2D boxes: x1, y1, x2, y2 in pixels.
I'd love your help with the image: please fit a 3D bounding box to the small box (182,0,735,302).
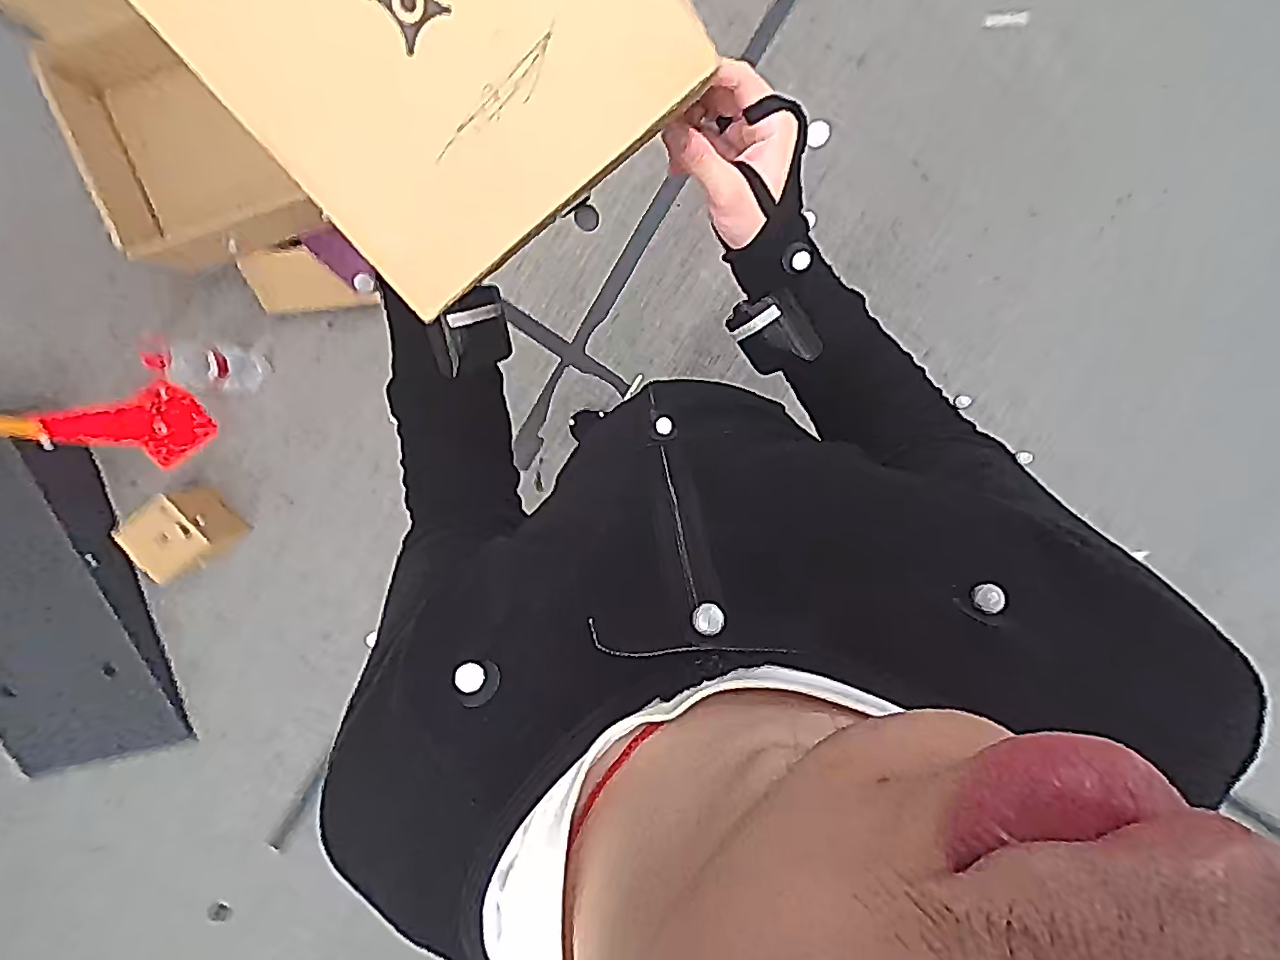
[{"bbox_3d":[-0.074,-0.225,0.270,0.168,0.176,0.179,-30,117,20],"label":"small box"}]
